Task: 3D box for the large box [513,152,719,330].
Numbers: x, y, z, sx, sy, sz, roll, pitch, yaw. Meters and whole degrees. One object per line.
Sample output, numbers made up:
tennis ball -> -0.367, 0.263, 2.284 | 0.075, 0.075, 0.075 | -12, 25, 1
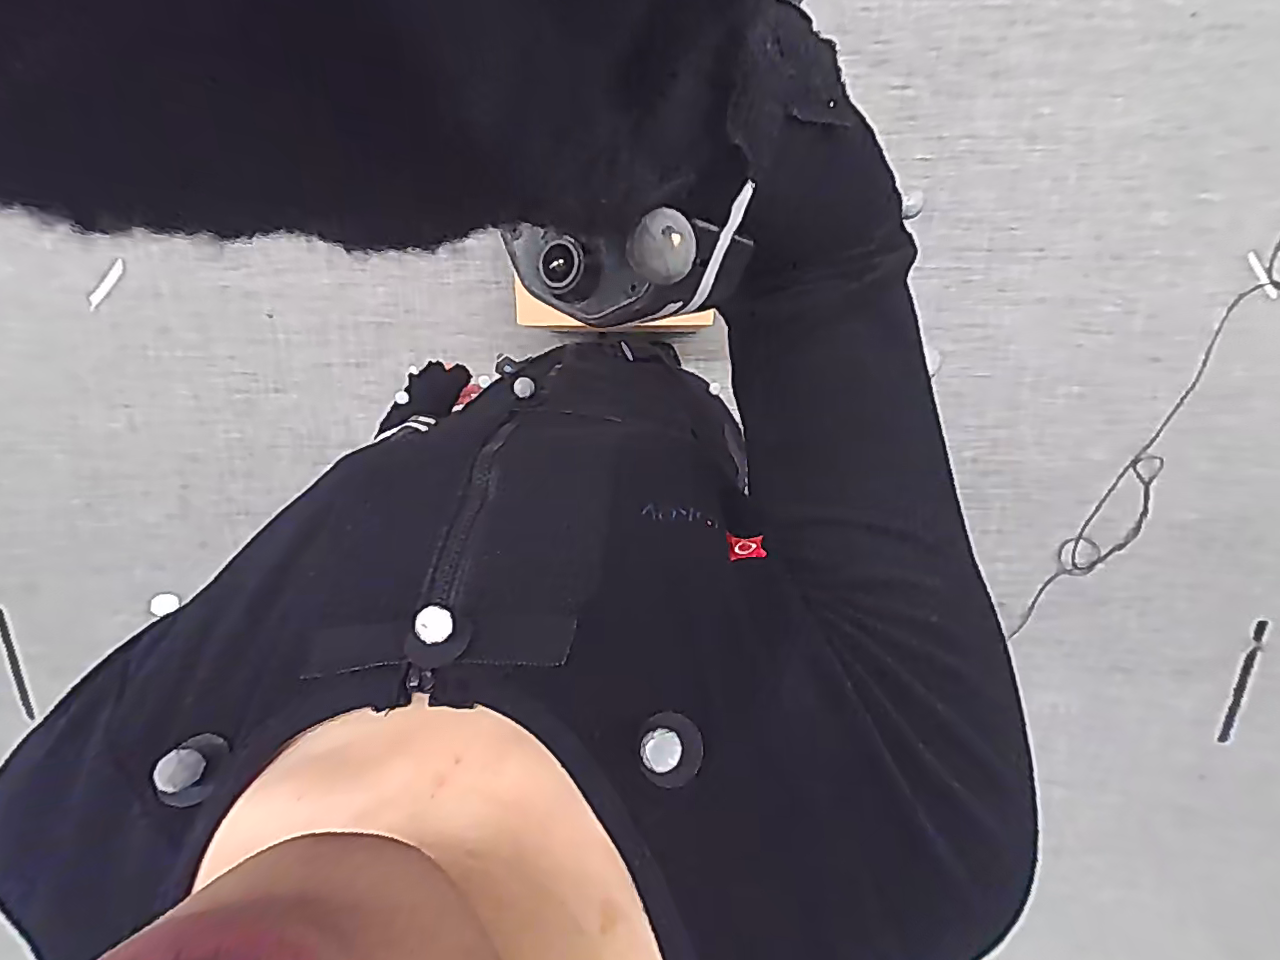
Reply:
large box -> -0.045, -0.509, 1.217 | 0.408, 0.320, 0.320 | 0, 104, 1
